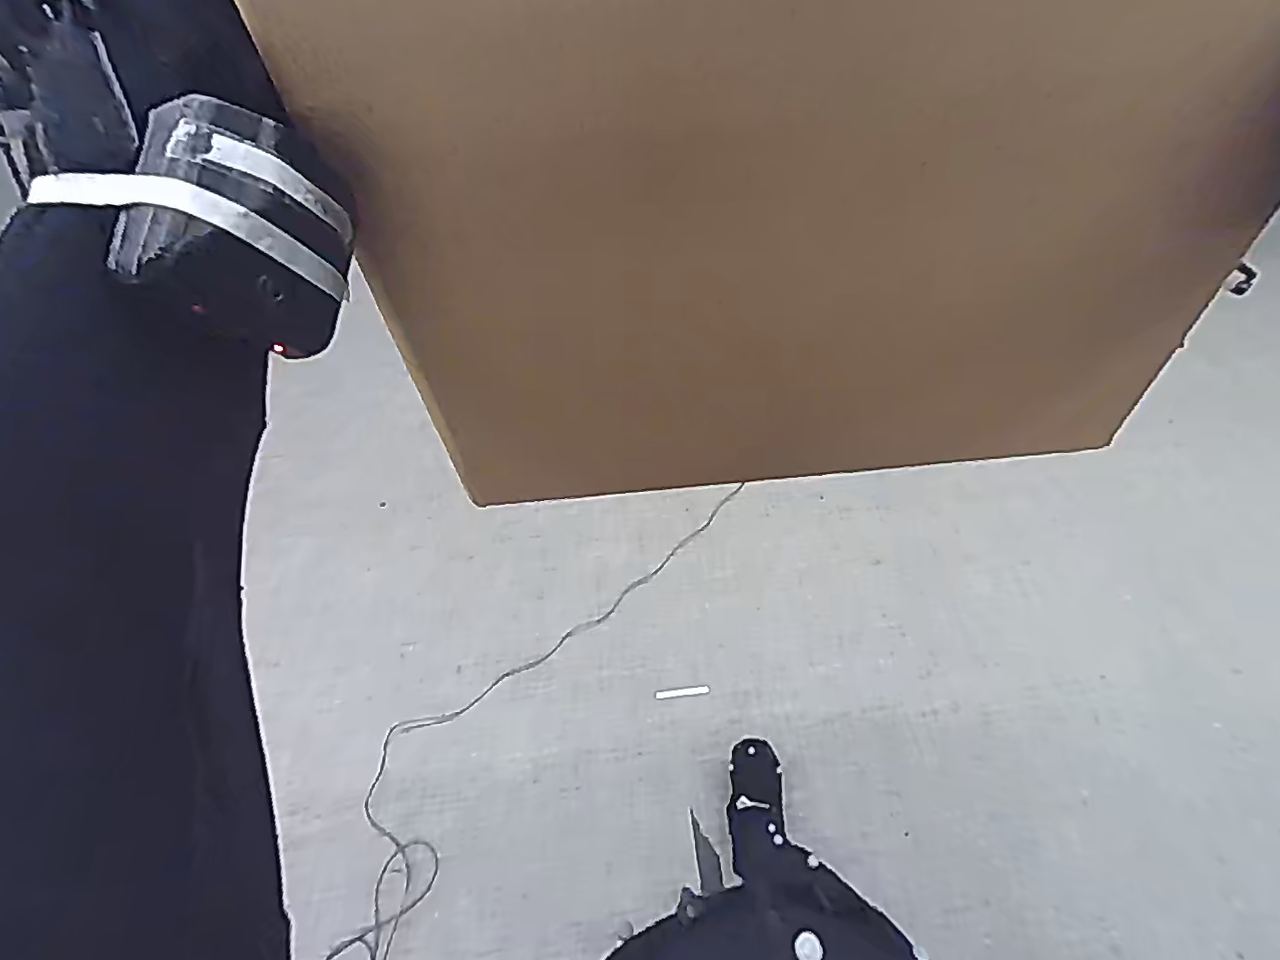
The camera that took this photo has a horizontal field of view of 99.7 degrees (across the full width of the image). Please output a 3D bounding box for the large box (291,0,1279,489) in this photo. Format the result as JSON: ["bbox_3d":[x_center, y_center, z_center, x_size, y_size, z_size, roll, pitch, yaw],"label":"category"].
[{"bbox_3d":[0.069,-0.221,0.357,0.408,0.320,0.320,-6,46,0],"label":"large box"}]
